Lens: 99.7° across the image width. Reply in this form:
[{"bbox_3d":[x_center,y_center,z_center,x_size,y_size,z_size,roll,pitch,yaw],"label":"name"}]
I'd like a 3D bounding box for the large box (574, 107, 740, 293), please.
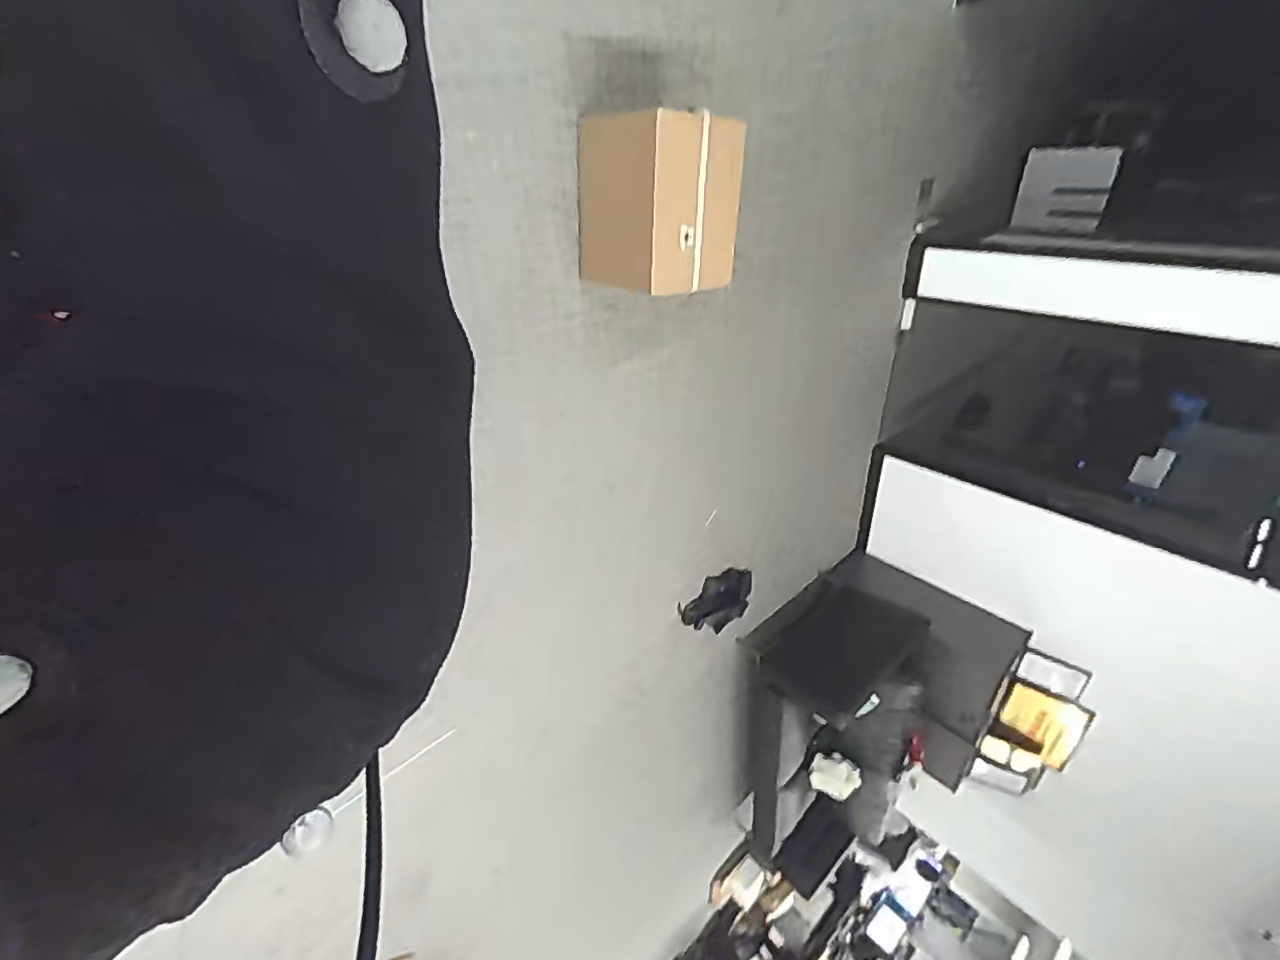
[{"bbox_3d":[0.036,-0.753,1.466,0.320,0.320,0.408,-21,127,-36],"label":"large box"}]
